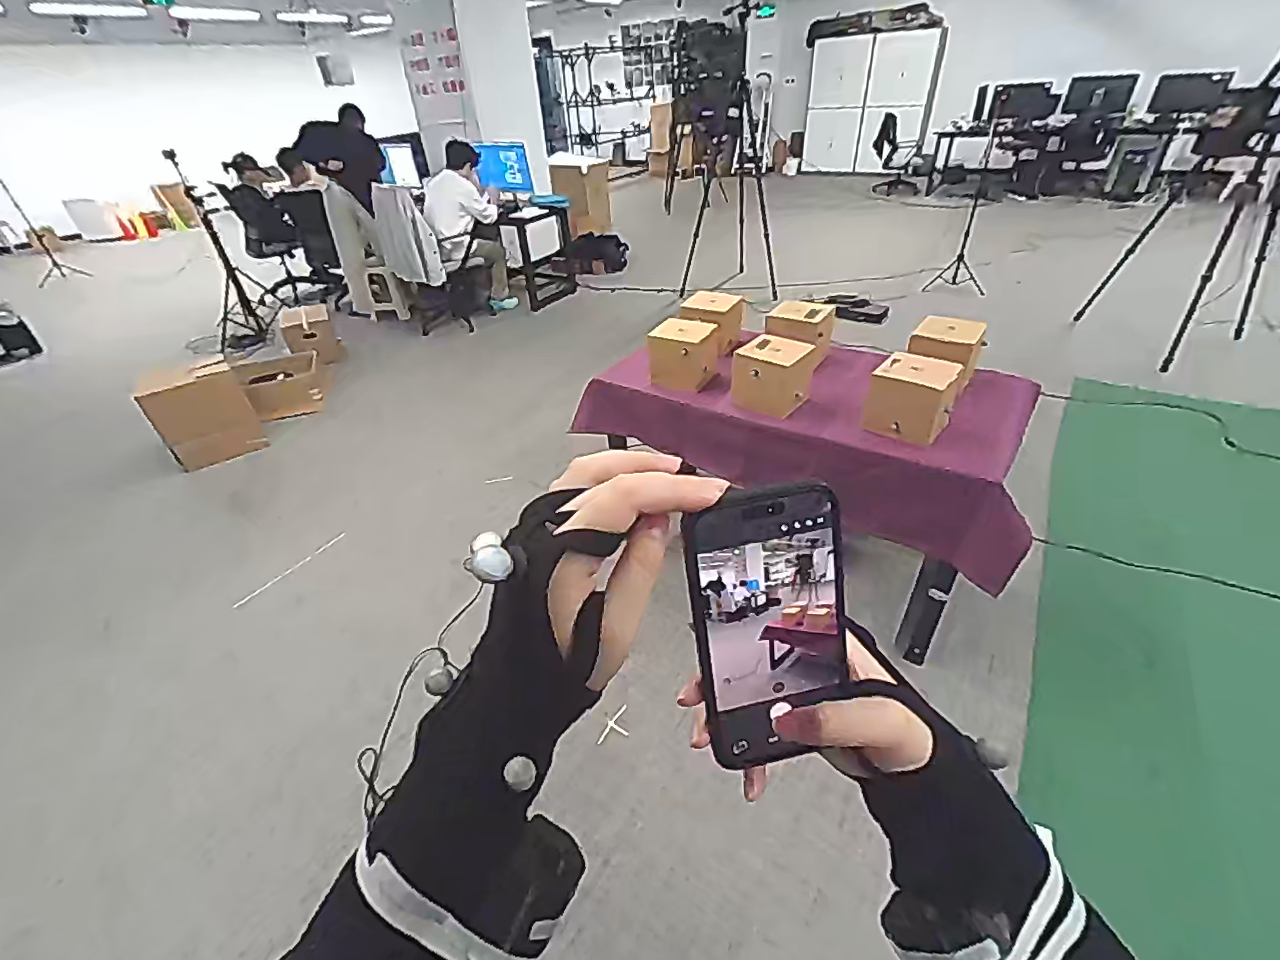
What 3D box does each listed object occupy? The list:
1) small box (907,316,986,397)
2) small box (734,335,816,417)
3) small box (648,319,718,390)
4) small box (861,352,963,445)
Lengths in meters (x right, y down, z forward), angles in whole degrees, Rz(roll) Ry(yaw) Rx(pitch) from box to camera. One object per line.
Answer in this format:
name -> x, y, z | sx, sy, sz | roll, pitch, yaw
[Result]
small box -> 0.902, -0.370, 1.617 | 0.168, 0.176, 0.179 | 22, 45, 32
small box -> 0.389, -0.305, 1.583 | 0.179, 0.176, 0.168 | 25, 46, 33
small box -> 0.139, -0.404, 1.745 | 0.179, 0.176, 0.168 | 16, 41, 24
small box -> 0.711, -0.213, 1.425 | 0.179, 0.176, 0.168 | 26, 45, 34
